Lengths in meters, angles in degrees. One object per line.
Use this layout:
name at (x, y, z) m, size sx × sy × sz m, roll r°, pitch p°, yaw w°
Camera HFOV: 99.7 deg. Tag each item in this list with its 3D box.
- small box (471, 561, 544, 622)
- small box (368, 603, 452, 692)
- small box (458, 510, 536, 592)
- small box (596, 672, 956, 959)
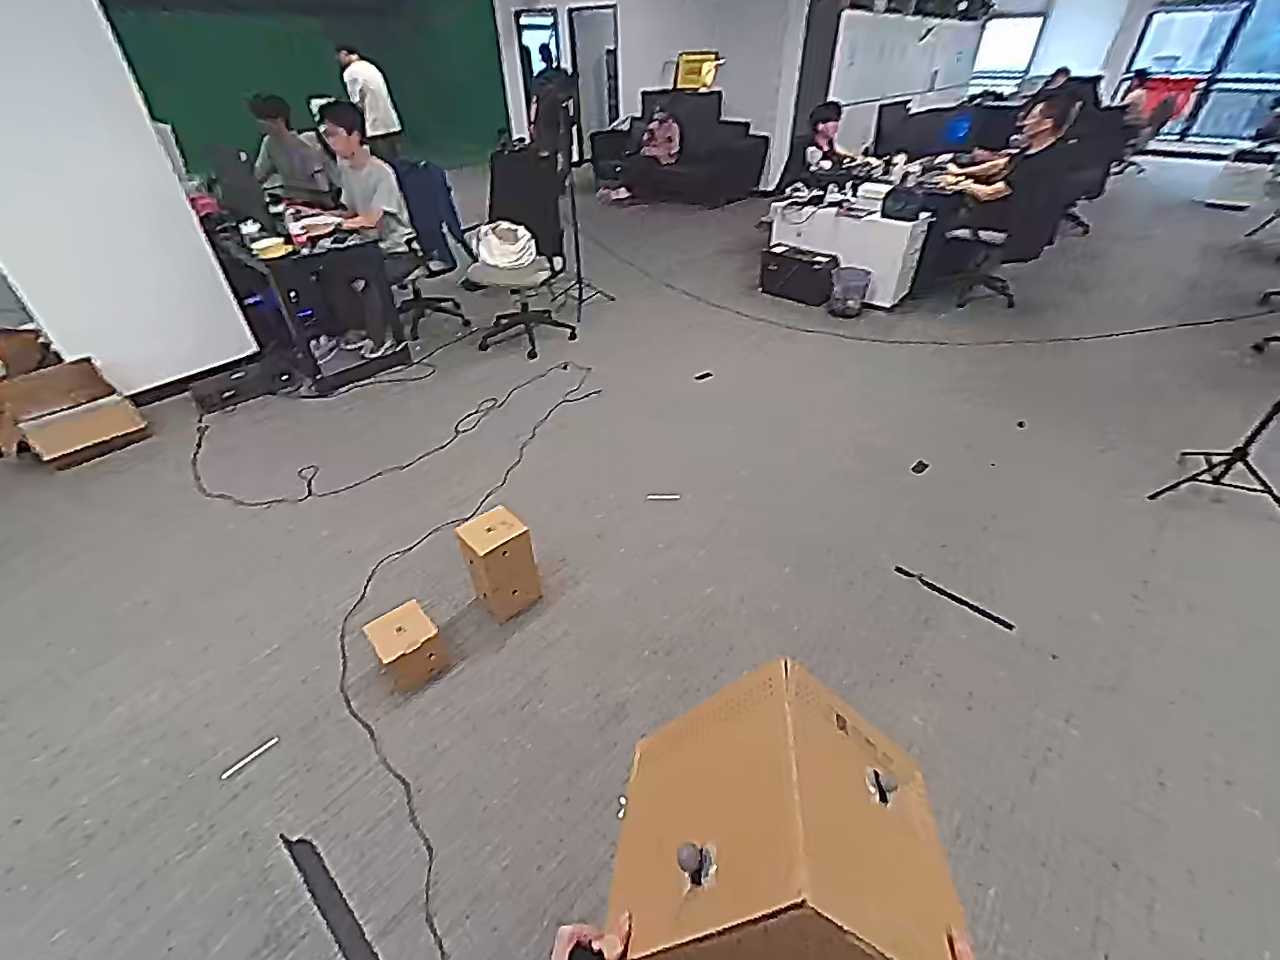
small box at (-0.453, 0.358, 1.874) m, size 0.168 × 0.176 × 0.179 m, roll 31°, pitch 49°, yaw 34°
small box at (-0.704, 0.525, 1.672) m, size 0.168 × 0.176 × 0.179 m, roll -29°, pitch 46°, yaw -32°
small box at (-0.461, 0.233, 1.766) m, size 0.179 × 0.176 × 0.168 m, roll -30°, pitch 47°, yaw -33°
small box at (0.098, 0.281, 0.397) m, size 0.168 × 0.179 × 0.176 m, roll 40°, pitch 26°, yaw -12°
